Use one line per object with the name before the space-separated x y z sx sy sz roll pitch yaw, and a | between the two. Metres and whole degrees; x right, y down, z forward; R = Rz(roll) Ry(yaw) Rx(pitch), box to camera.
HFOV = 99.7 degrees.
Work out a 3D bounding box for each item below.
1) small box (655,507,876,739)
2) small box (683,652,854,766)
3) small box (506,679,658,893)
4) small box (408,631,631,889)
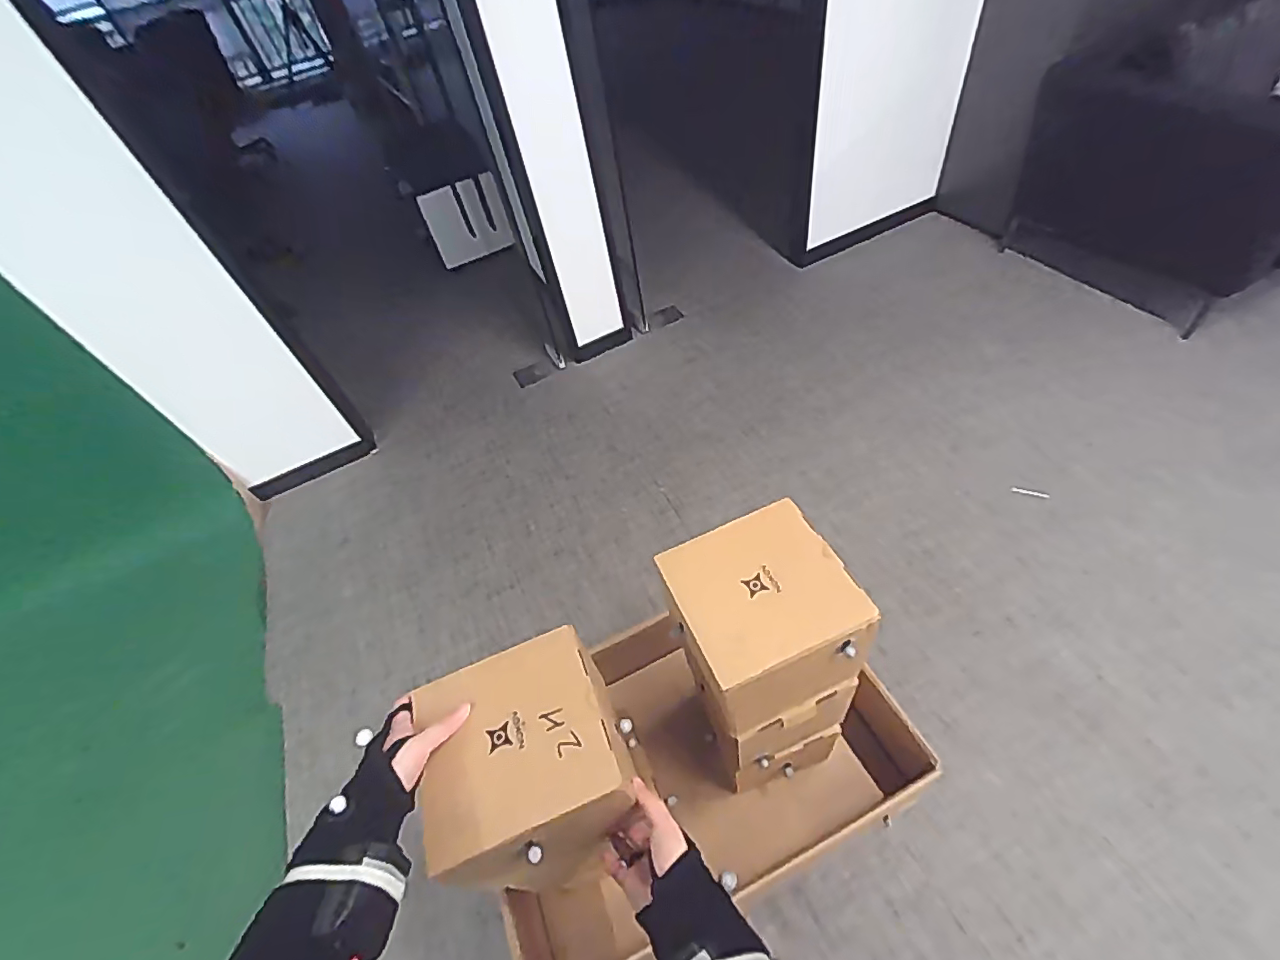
small box | 0.137 0.168 0.623 0.179 0.176 0.168 -22 50 -9
small box | 0.165 0.270 0.746 0.168 0.176 0.179 -22 49 -7
small box | -0.088 0.394 0.693 0.168 0.176 0.179 -23 49 -9
small box | -0.117 0.296 0.568 0.179 0.176 0.168 -20 51 -13
